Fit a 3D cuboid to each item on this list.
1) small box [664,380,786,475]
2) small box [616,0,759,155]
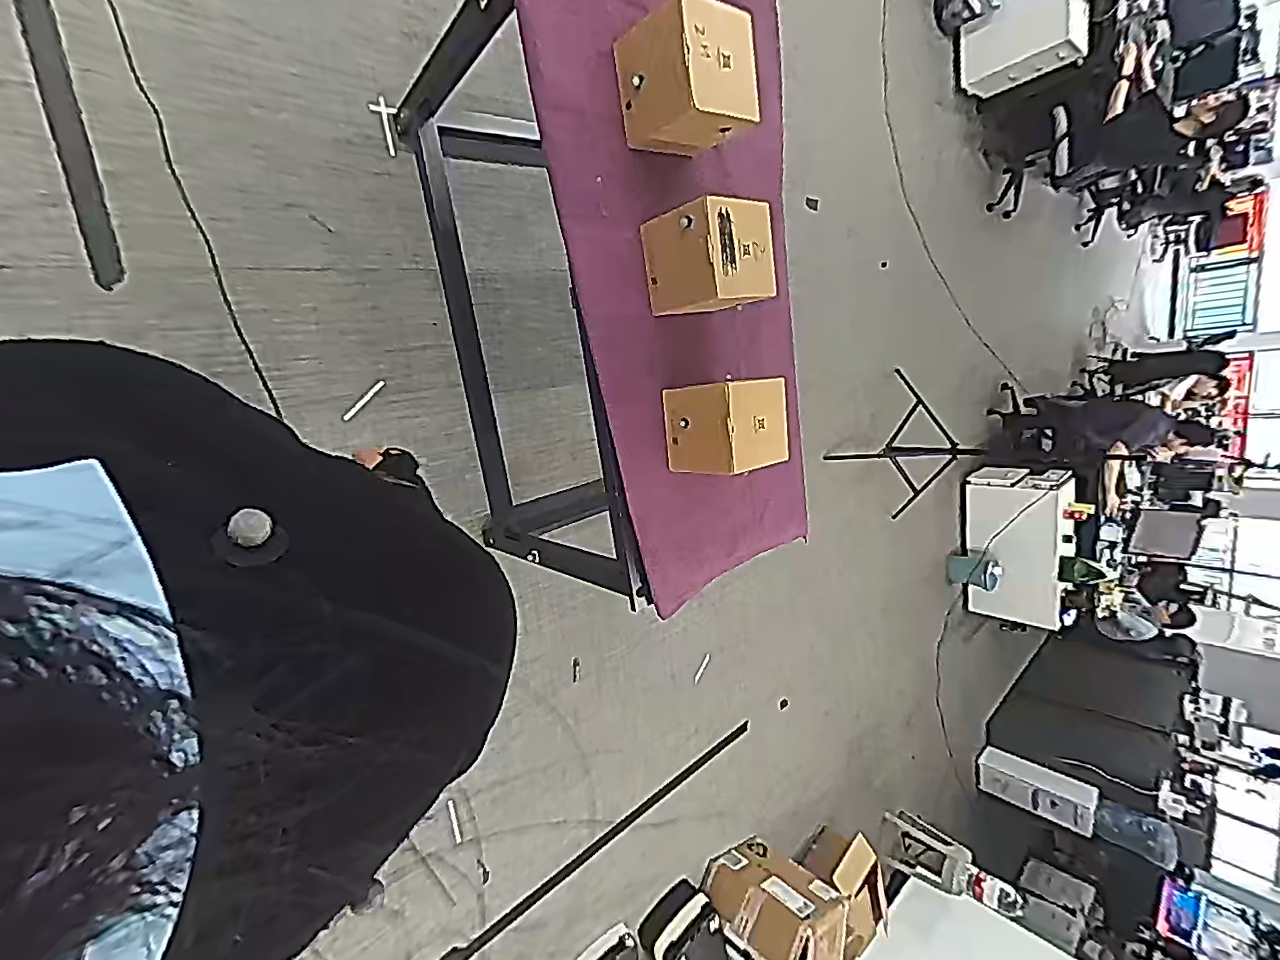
[{"bbox_3d":[0.169,-0.108,1.074,0.179,0.176,0.168,-14,103,-40],"label":"small box"},{"bbox_3d":[0.084,-0.691,0.946,0.179,0.176,0.168,-20,108,-37],"label":"small box"}]
